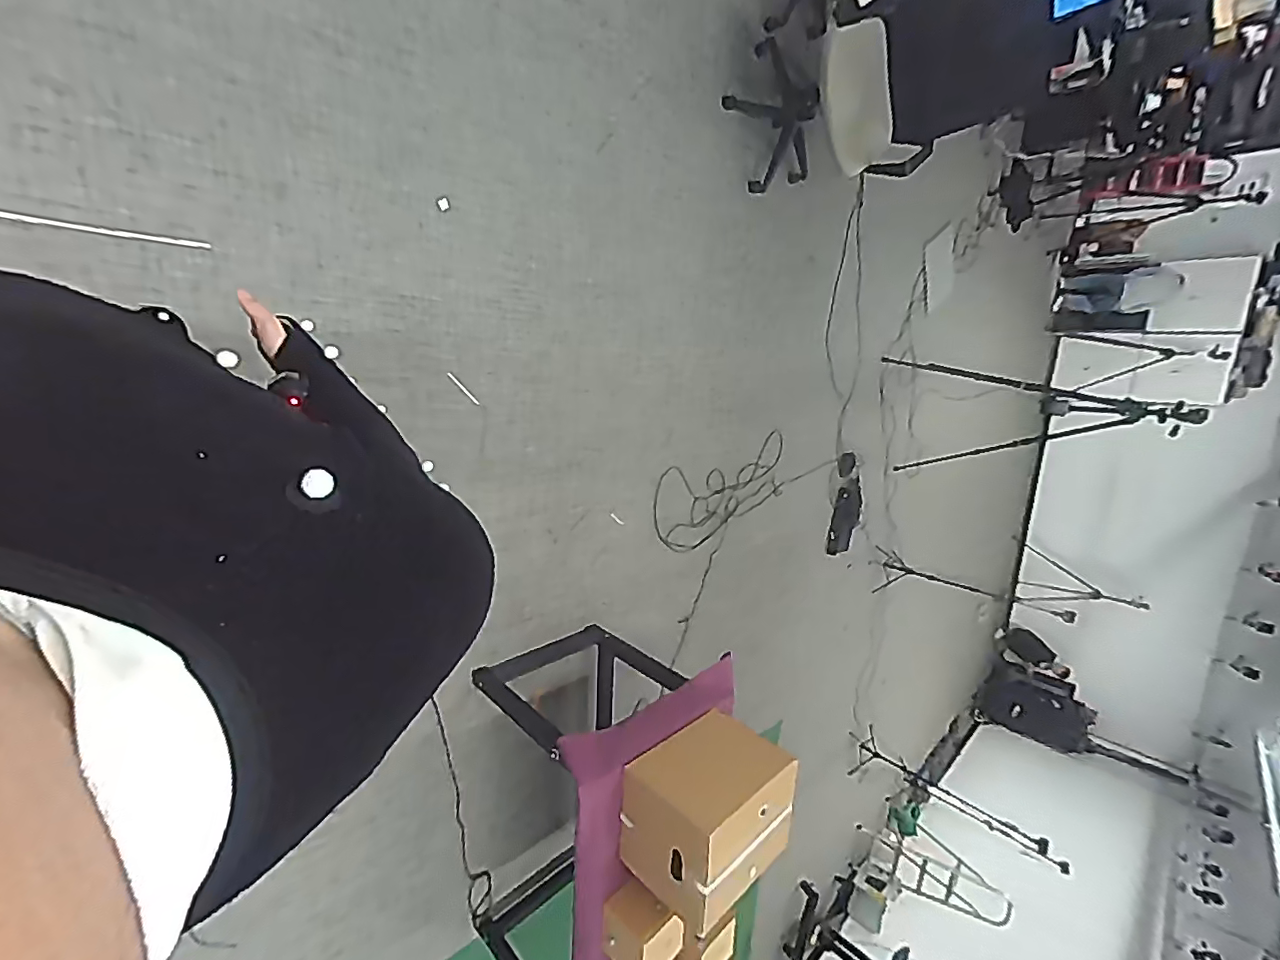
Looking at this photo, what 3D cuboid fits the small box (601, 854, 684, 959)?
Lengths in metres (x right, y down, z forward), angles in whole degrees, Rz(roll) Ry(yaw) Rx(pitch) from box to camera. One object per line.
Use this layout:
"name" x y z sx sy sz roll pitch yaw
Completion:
"small box" 0.006 1.260 1.591 0.179 0.176 0.168 -11 108 -45
